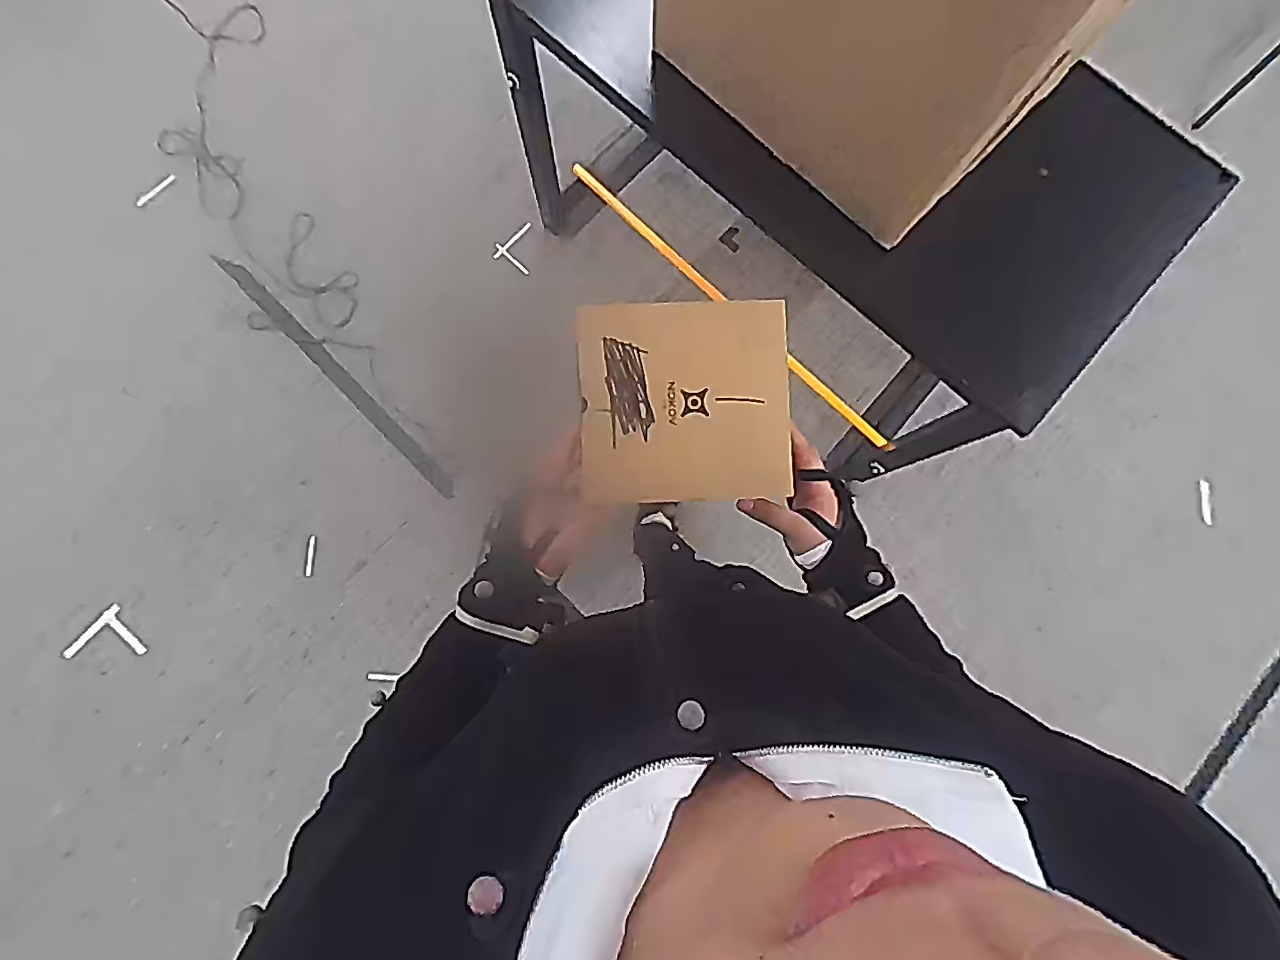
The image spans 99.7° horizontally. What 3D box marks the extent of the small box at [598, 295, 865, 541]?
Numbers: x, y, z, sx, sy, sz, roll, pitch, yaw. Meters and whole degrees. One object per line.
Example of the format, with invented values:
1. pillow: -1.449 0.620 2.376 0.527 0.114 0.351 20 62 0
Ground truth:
1. small box: 0.061 -0.039 0.443 0.179 0.176 0.168 -3 89 -2
